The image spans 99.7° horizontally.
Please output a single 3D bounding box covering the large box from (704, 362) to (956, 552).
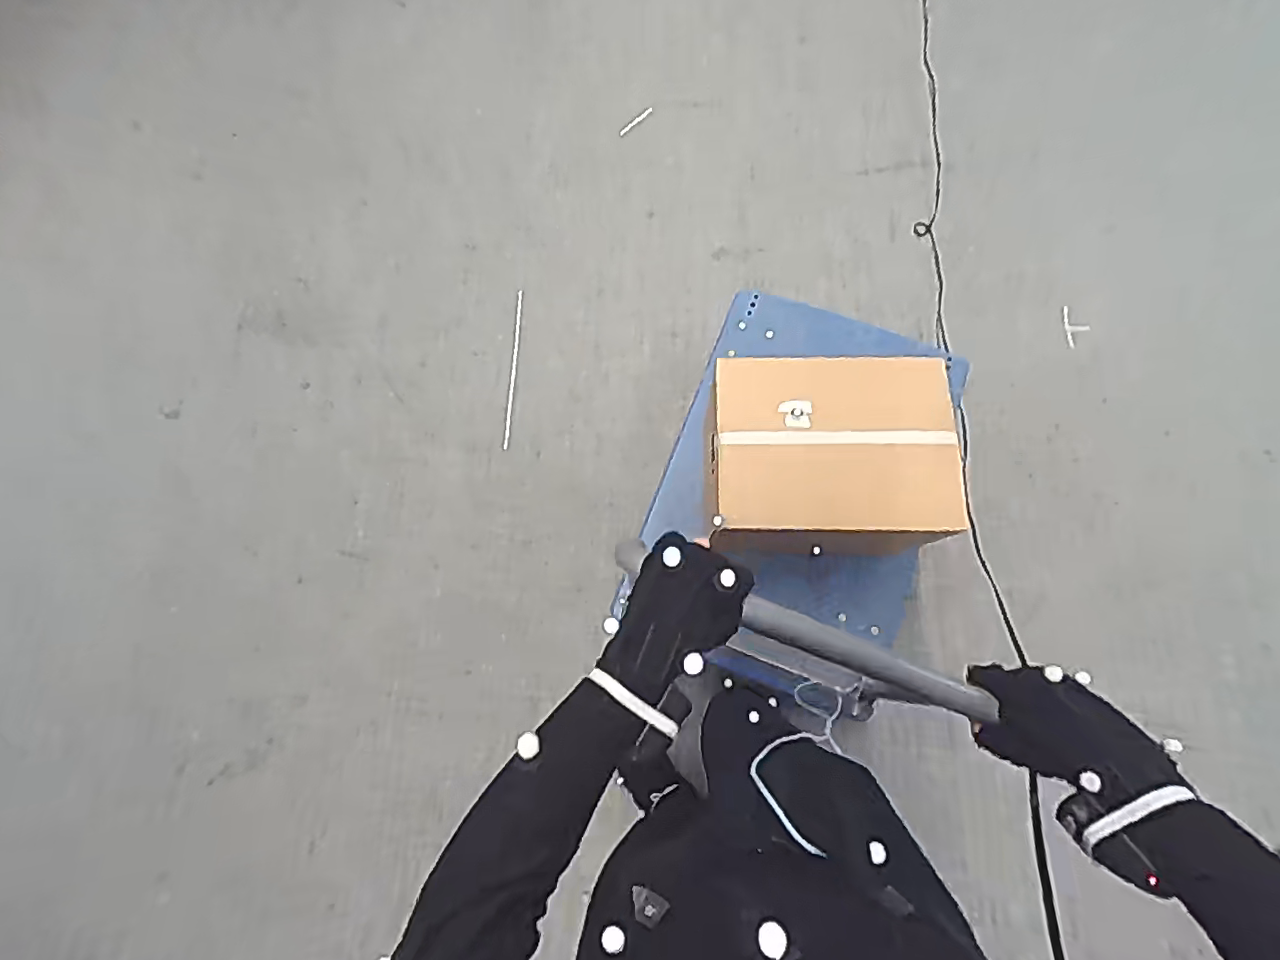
[{"bbox_3d":[0.338,-0.025,1.084,0.408,0.320,0.320,0,74,3],"label":"large box"}]
